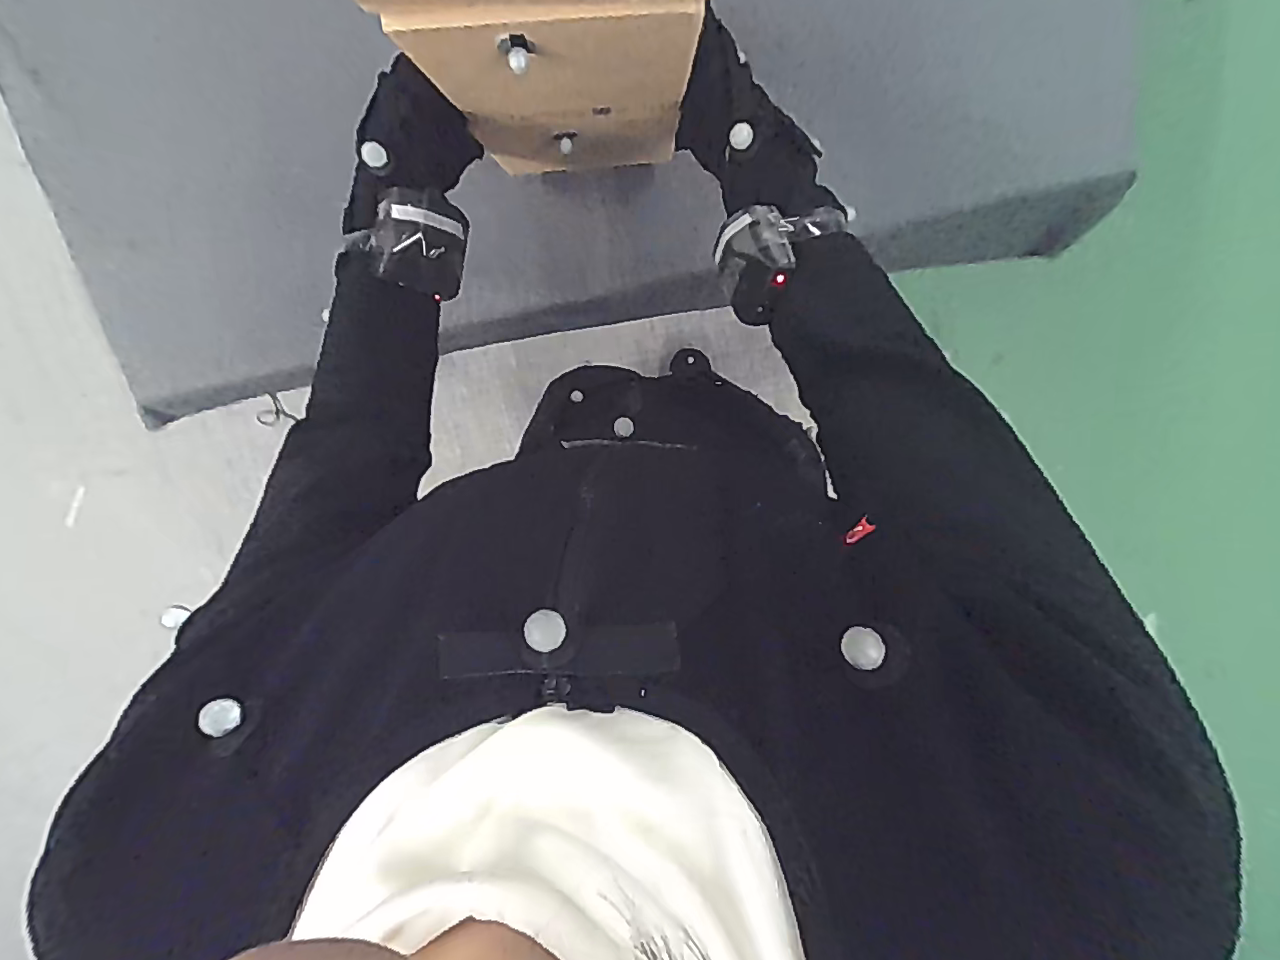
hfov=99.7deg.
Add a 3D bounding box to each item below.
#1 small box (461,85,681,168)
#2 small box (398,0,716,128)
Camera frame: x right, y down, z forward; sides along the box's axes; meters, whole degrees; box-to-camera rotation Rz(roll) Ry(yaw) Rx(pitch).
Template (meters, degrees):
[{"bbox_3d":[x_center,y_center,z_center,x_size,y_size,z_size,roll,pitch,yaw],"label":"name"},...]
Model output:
[{"bbox_3d":[-0.057,-0.391,0.482,0.179,0.176,0.168,-4,108,0],"label":"small box"},{"bbox_3d":[-0.051,-0.344,0.328,0.168,0.176,0.179,-5,109,0],"label":"small box"}]
